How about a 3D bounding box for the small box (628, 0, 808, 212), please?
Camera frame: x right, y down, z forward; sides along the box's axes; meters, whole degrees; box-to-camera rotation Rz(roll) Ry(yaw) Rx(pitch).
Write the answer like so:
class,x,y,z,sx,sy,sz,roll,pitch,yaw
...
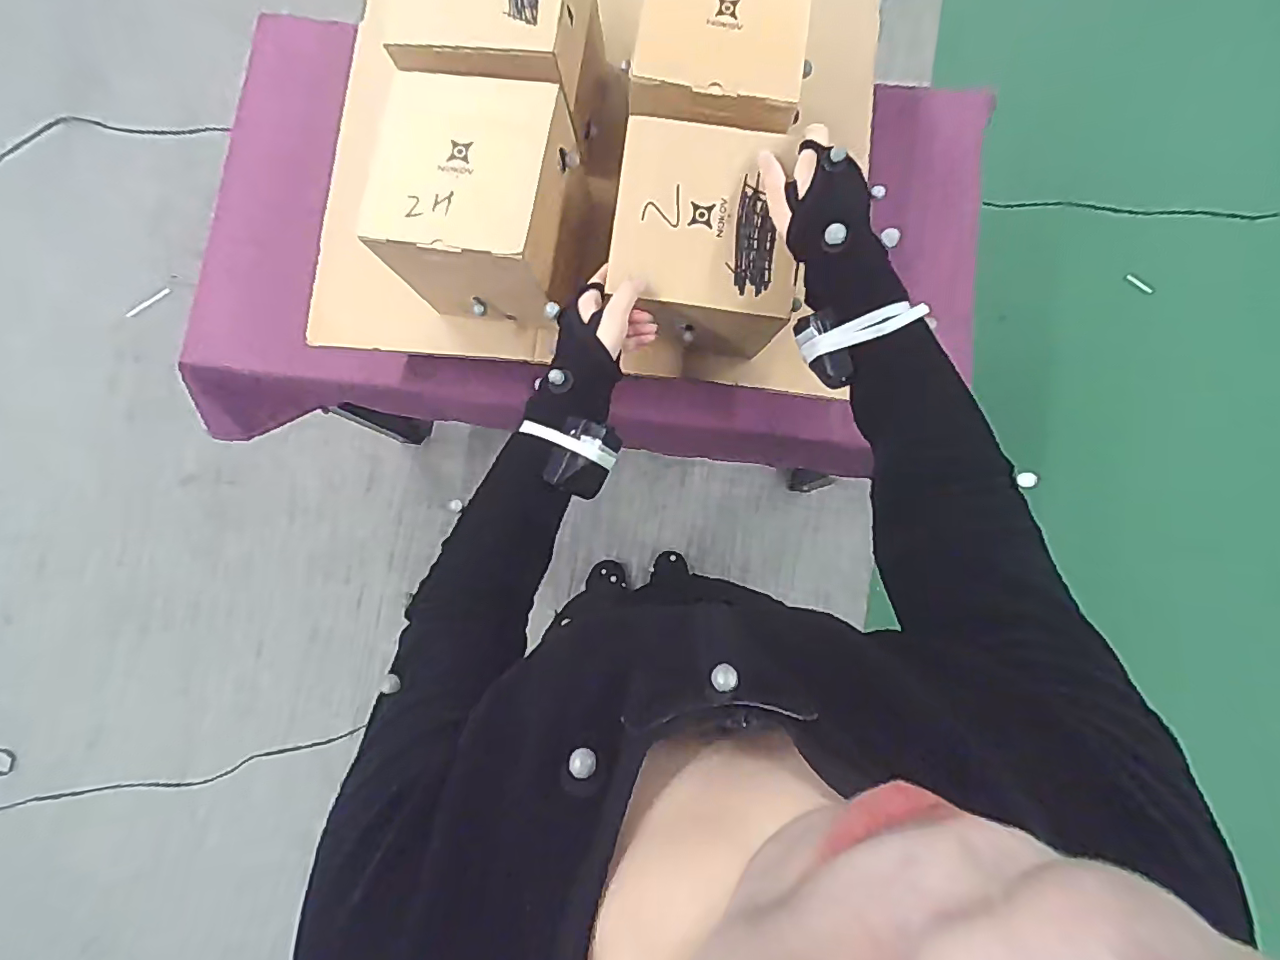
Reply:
class,x,y,z,sx,sy,sz,roll,pitch,yaw
small box,0.078,-0.444,0.614,0.168,0.176,0.179,8,84,-1
